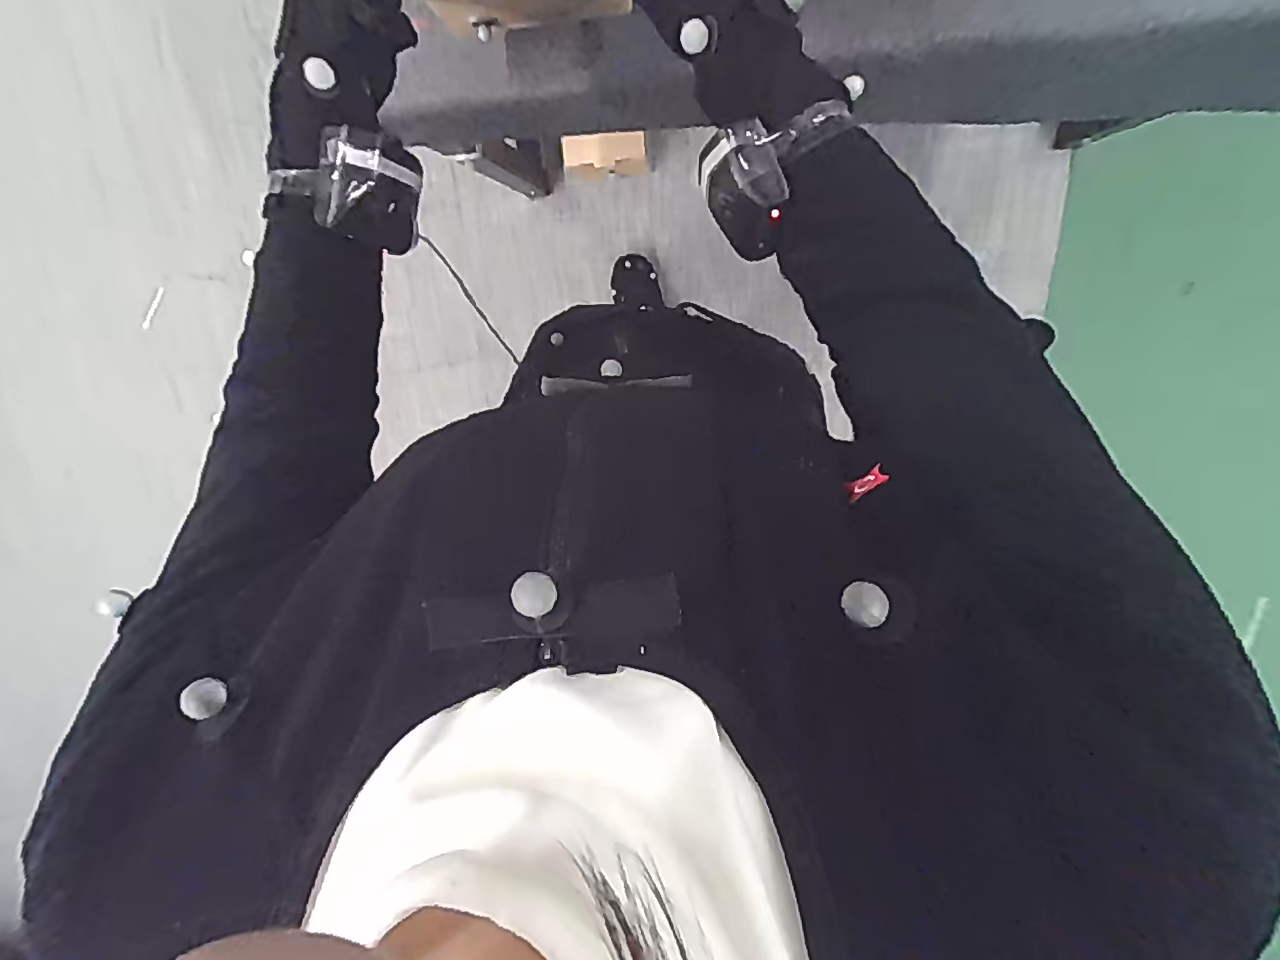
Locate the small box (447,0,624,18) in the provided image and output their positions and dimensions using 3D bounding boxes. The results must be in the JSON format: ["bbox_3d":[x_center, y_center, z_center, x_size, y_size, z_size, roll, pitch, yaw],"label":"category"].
[{"bbox_3d":[-0.095,-0.474,0.395,0.168,0.176,0.179,-5,114,2],"label":"small box"}]
